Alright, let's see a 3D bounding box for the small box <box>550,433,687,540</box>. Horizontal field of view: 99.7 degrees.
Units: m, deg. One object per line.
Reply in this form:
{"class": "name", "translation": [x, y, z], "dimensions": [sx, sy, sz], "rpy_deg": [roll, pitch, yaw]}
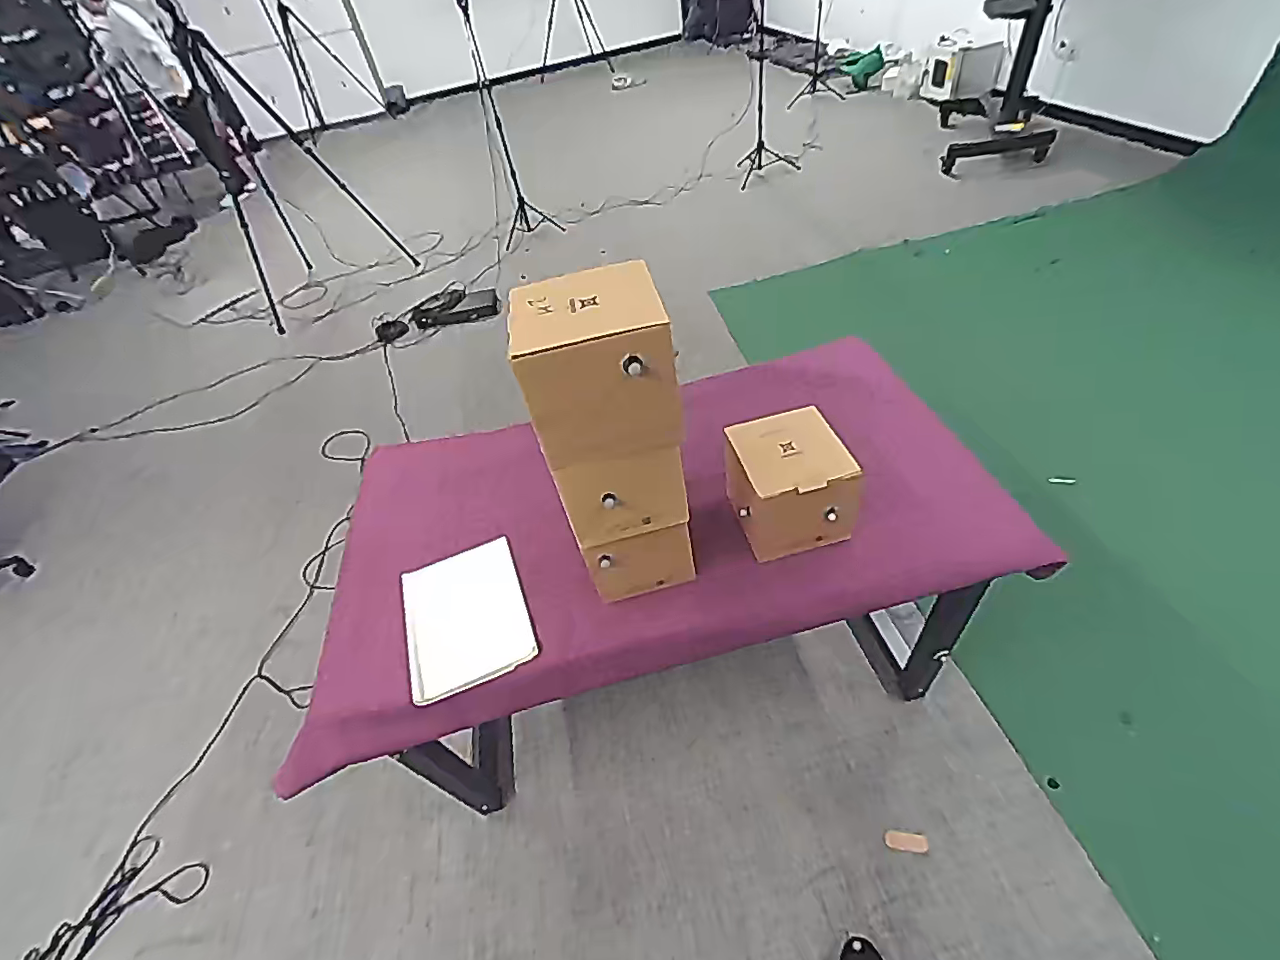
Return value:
{"class": "small box", "translation": [-0.034, -0.030, 0.795], "dimensions": [0.168, 0.176, 0.179], "rpy_deg": [-14, 45, -2]}

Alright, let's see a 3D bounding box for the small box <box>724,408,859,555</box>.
{"class": "small box", "translation": [0.251, 0.009, 0.926], "dimensions": [0.168, 0.176, 0.179], "rpy_deg": [-14, 44, -2]}

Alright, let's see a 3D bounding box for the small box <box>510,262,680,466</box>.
{"class": "small box", "translation": [-0.050, -0.142, 0.674], "dimensions": [0.179, 0.176, 0.168], "rpy_deg": [-13, 44, 0]}
